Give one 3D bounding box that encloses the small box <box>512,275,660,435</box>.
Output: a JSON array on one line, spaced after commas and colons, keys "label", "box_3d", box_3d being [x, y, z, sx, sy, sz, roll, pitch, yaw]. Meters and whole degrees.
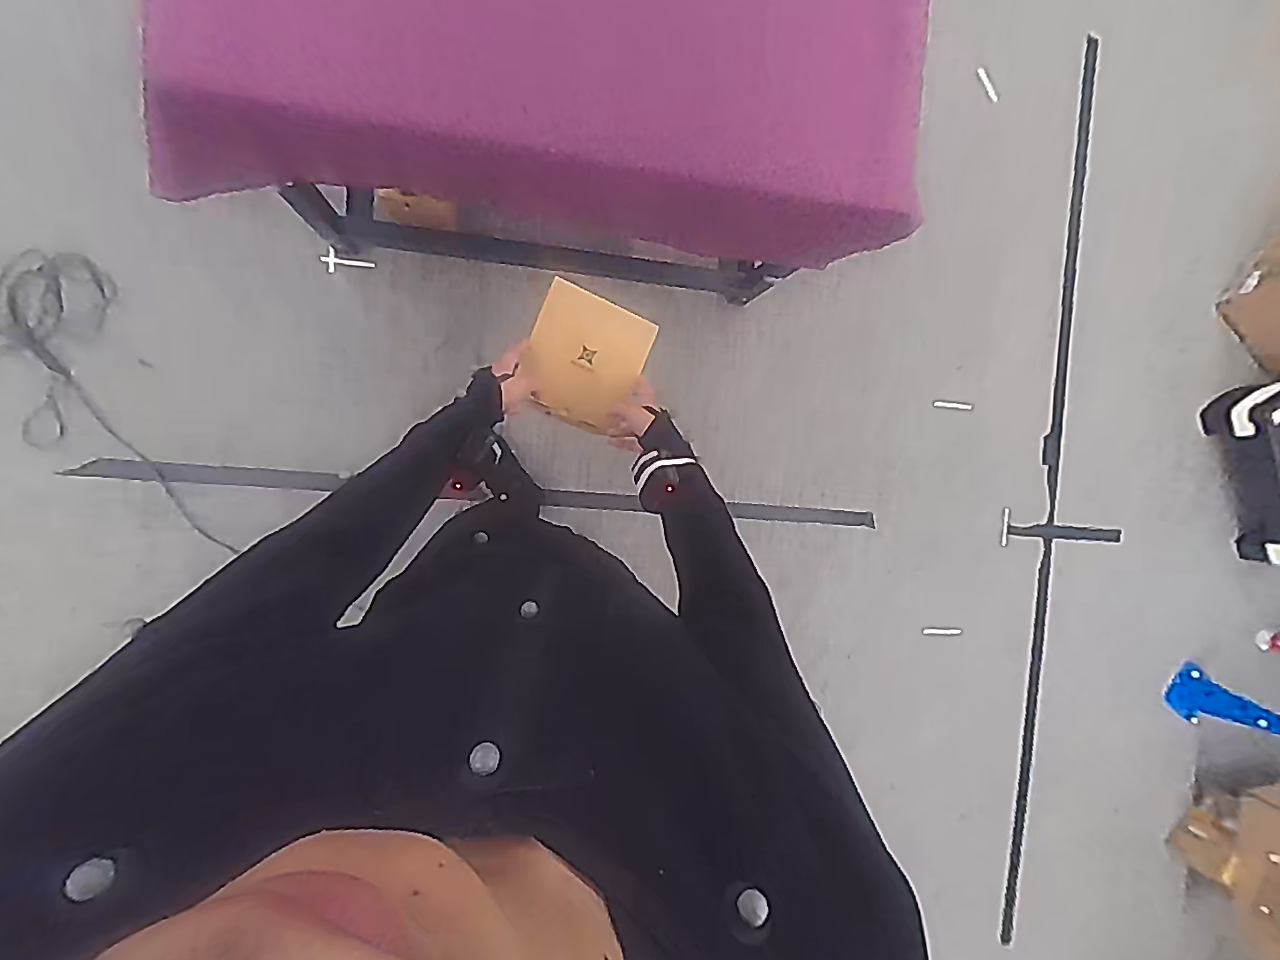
[{"label": "small box", "box_3d": [-0.094, -0.183, 0.842, 0.168, 0.176, 0.179, 22, 91, -16]}]
